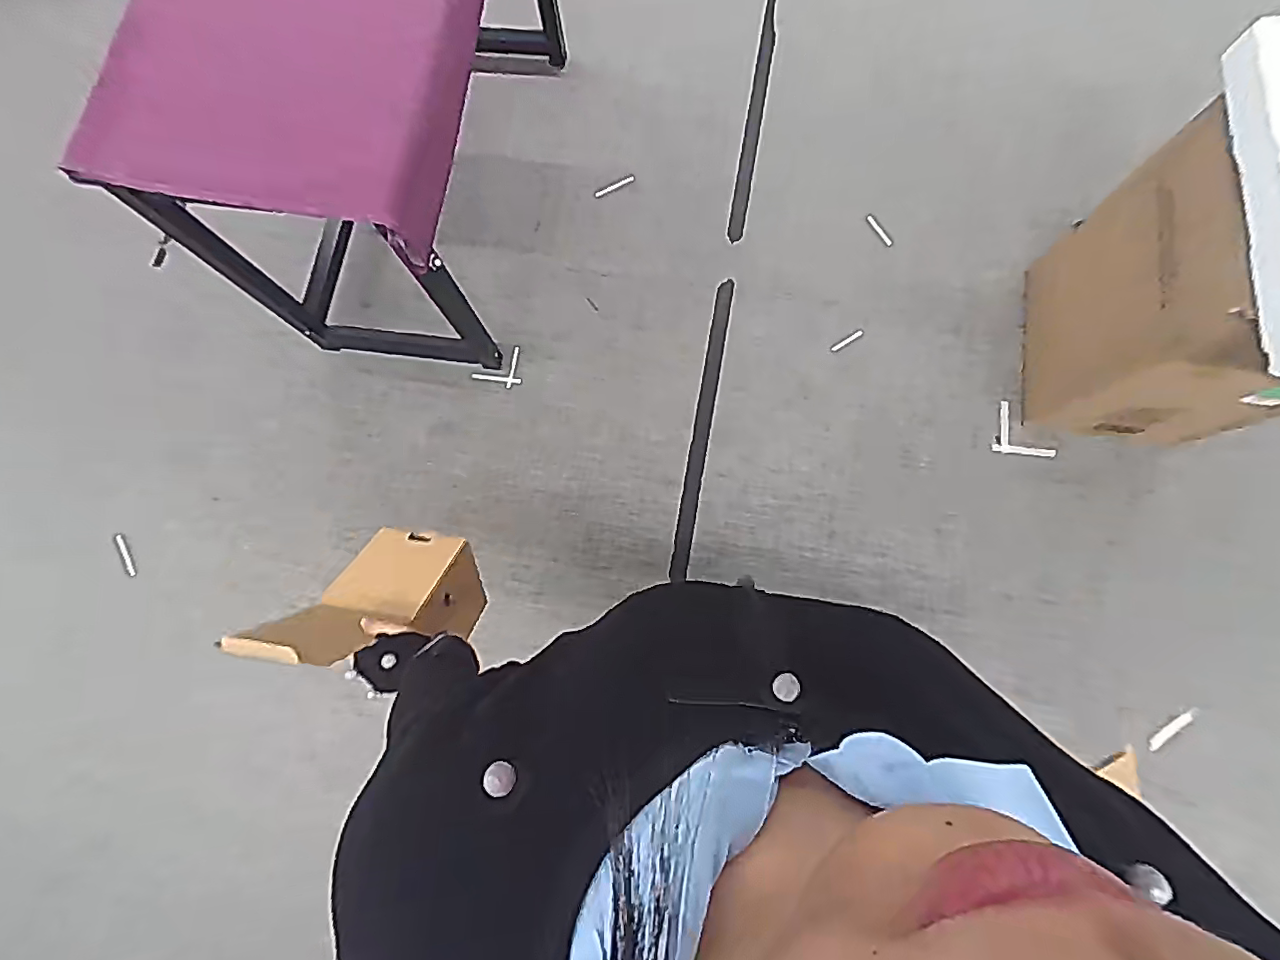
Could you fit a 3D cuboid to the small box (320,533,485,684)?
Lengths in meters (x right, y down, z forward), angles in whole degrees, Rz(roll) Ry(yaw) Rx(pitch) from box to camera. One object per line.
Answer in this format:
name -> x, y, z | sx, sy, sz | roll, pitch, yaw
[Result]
small box -> -0.379, 0.215, 0.906 | 0.168, 0.176, 0.179 | 5, 38, 11
